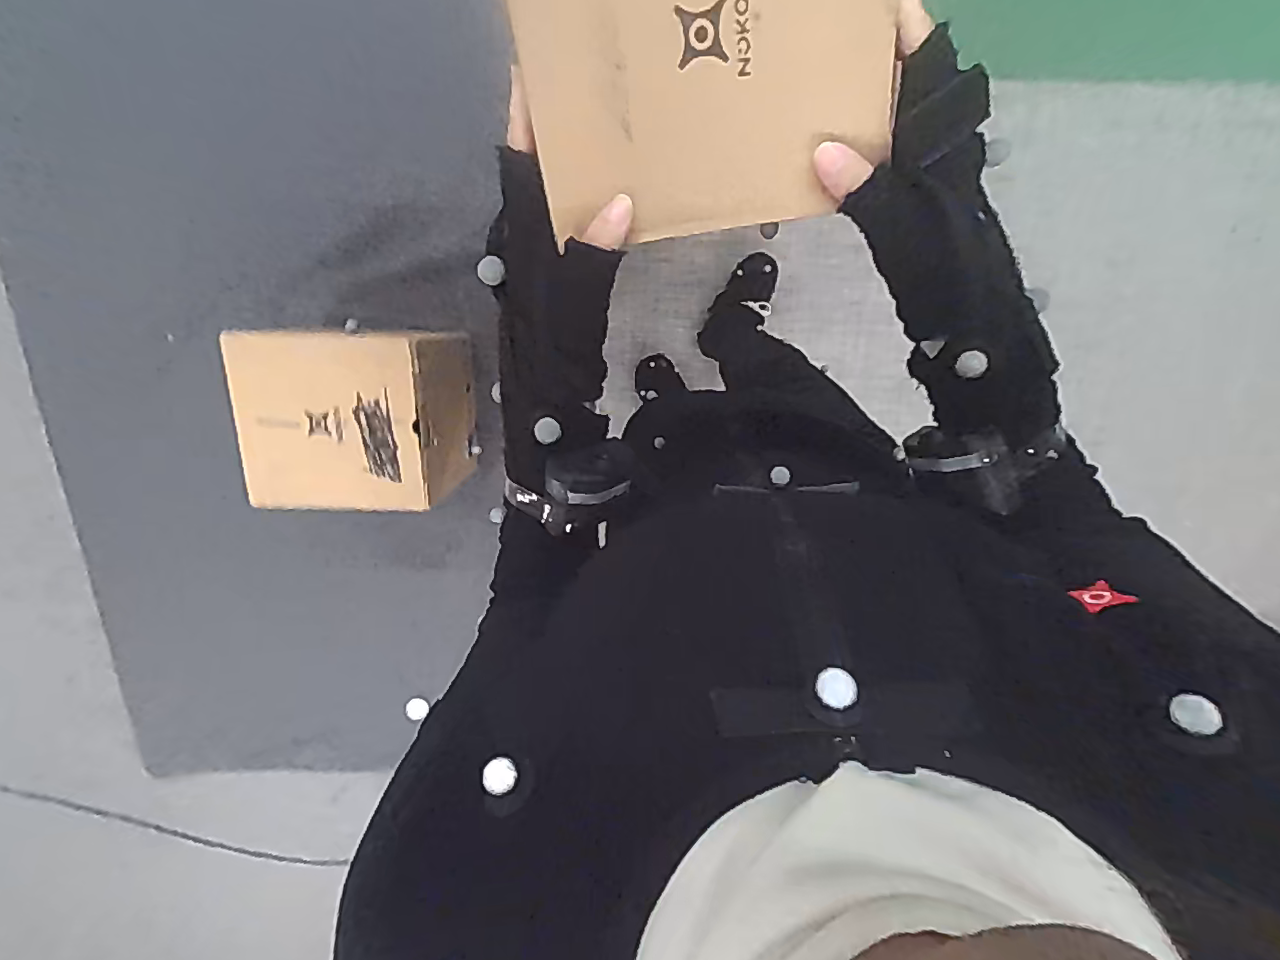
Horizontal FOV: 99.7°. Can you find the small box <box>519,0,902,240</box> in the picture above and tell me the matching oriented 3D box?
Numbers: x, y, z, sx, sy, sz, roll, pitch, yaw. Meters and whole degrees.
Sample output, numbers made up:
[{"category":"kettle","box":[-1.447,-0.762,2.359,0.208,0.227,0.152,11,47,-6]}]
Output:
[{"category":"small box","box":[0.031,-0.246,0.318,0.179,0.176,0.168,-8,117,3]}]

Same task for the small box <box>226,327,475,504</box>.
[{"category":"small box","box":[-0.289,-0.079,0.589,0.179,0.176,0.168,-2,106,0]}]
